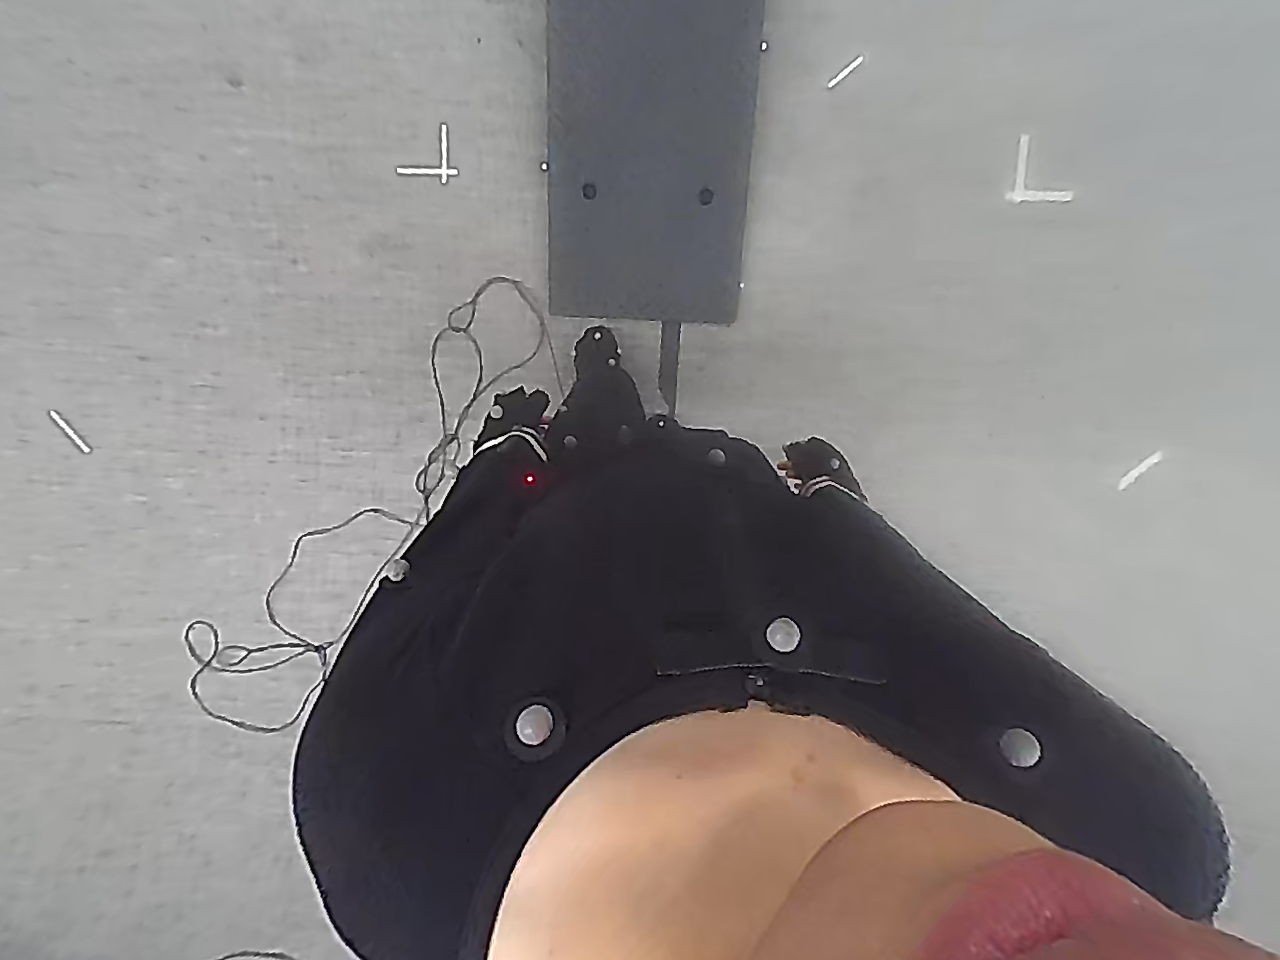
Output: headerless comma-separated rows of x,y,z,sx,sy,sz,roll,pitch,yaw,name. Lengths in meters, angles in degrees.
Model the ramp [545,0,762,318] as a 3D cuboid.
0.025,-0.904,1.261,0.509,0.206,0.991,0,99,-1,ramp
